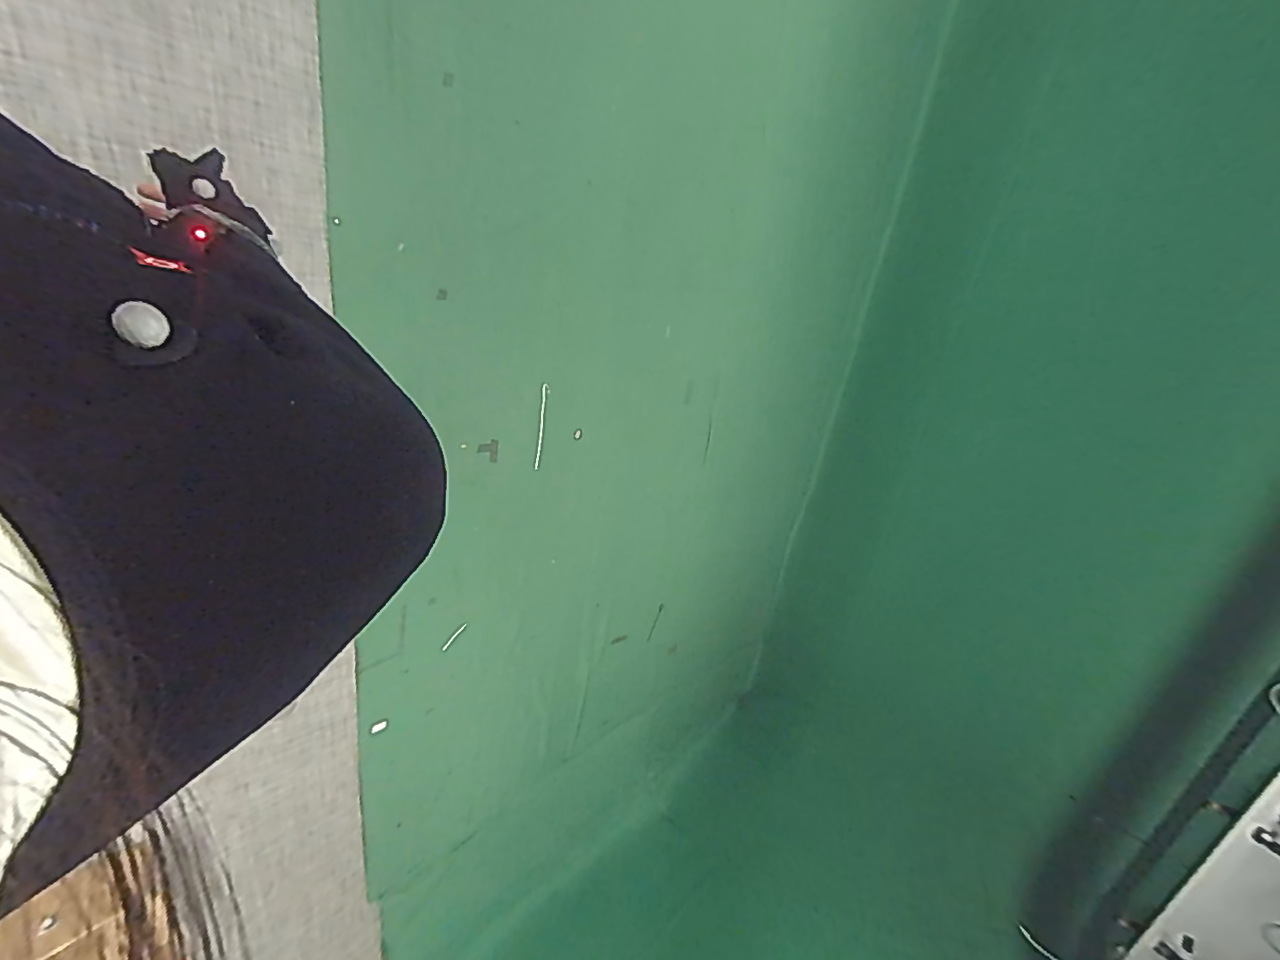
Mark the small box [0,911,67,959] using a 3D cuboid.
[{"bbox_3d":[-1.457,1.164,1.242,0.179,0.176,0.168,-18,126,-45],"label":"small box"}]
